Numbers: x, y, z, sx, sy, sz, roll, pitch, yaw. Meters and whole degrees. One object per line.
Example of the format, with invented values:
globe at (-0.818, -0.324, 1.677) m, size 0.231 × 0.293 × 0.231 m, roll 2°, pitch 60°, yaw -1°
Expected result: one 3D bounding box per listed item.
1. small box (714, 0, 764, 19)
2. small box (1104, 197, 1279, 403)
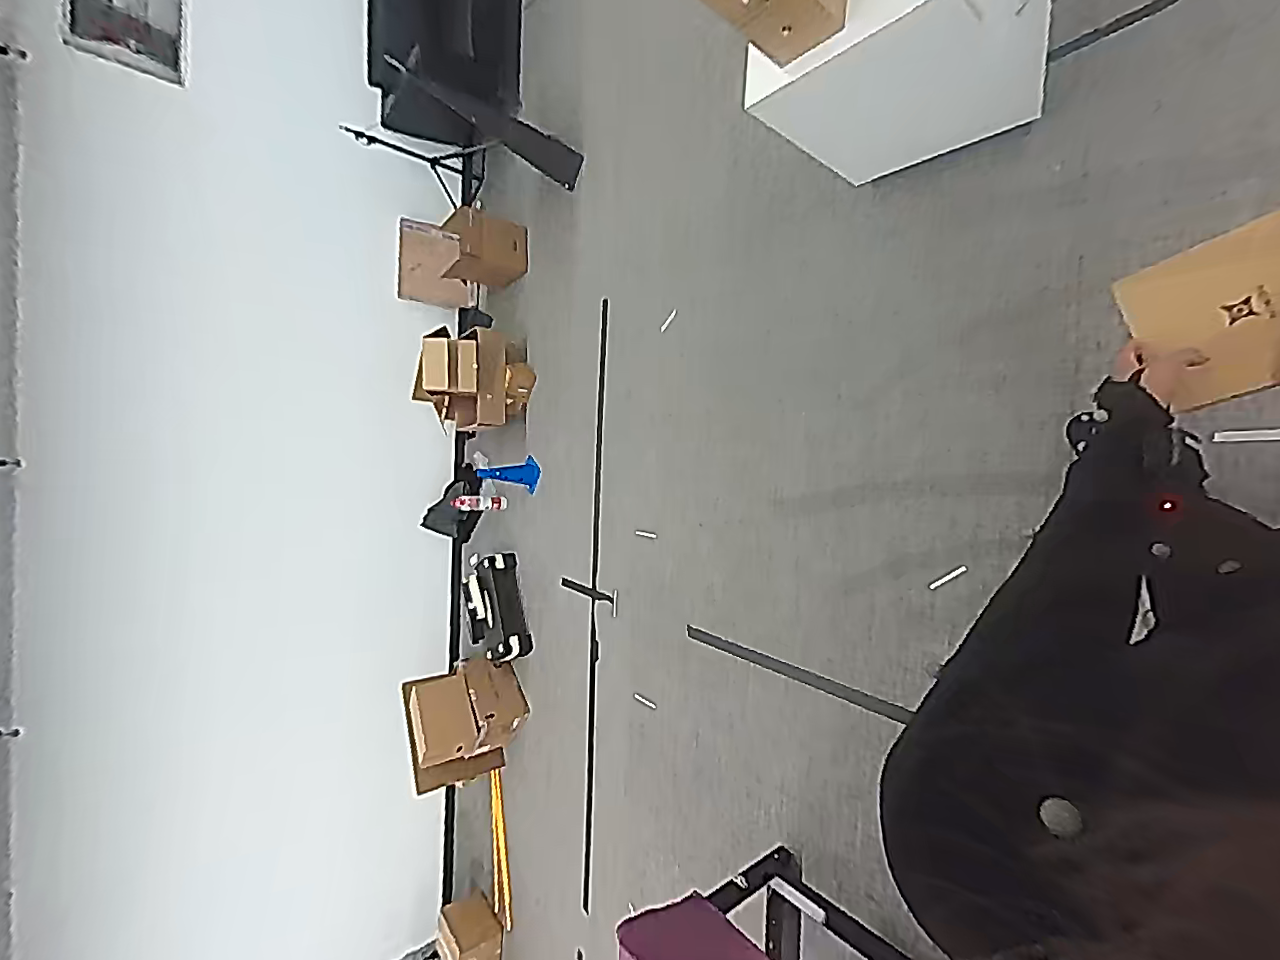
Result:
small box at (0.205, -1.101, 1.089) m, size 0.168 × 0.176 × 0.179 m, roll 11°, pitch 97°, yaw 51°
small box at (0.674, -0.192, 0.609) m, size 0.179 × 0.176 × 0.168 m, roll -25°, pitch 77°, yaw 46°
